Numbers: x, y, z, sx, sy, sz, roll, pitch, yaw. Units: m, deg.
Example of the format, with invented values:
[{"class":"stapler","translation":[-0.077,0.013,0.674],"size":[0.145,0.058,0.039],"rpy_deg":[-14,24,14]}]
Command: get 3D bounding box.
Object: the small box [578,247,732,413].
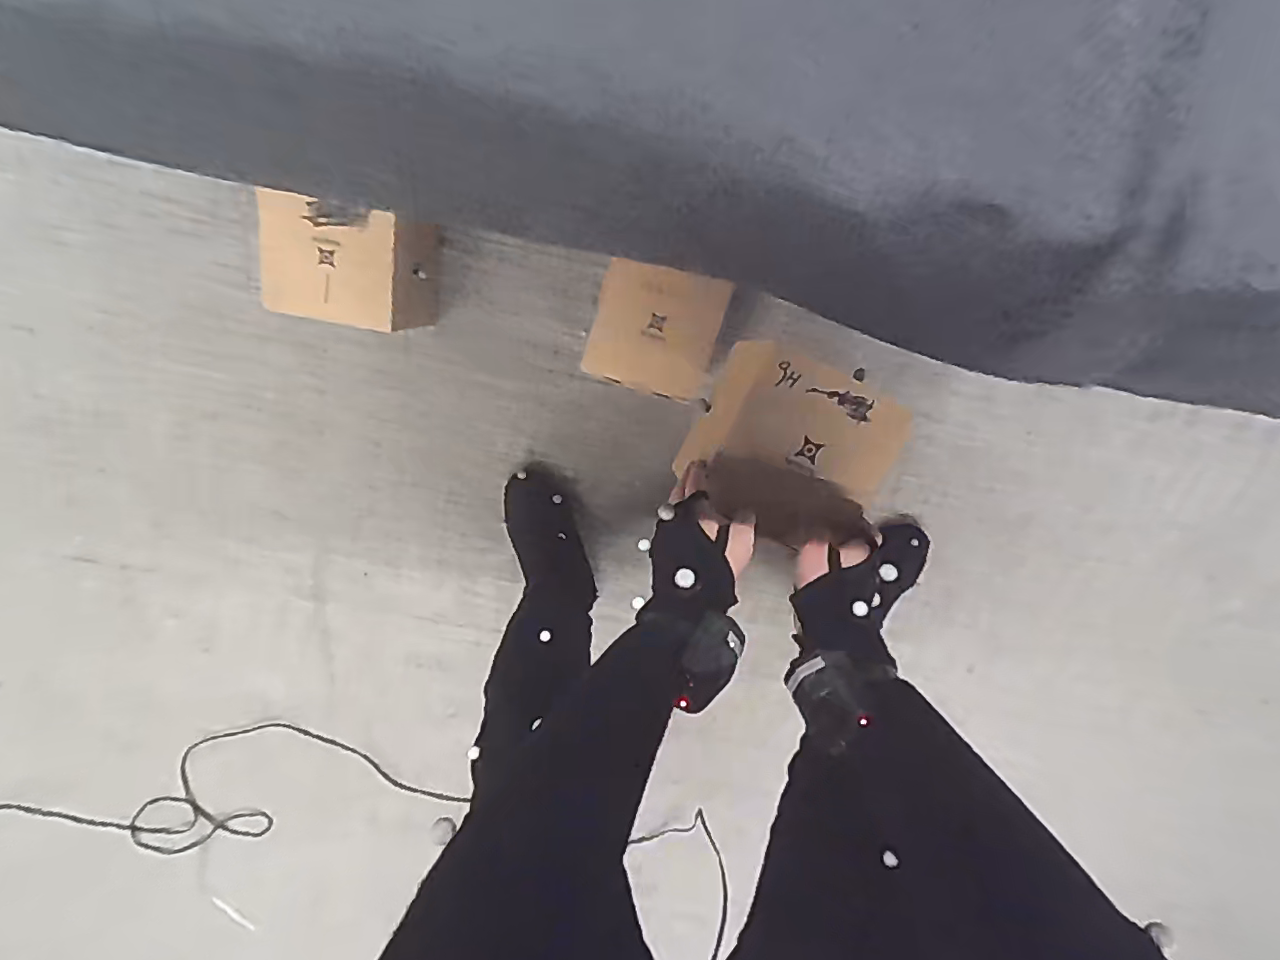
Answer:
[{"class":"small box","translation":[0.015,-0.215,0.781],"size":[0.168,0.176,0.179],"rpy_deg":[14,106,-8]}]
